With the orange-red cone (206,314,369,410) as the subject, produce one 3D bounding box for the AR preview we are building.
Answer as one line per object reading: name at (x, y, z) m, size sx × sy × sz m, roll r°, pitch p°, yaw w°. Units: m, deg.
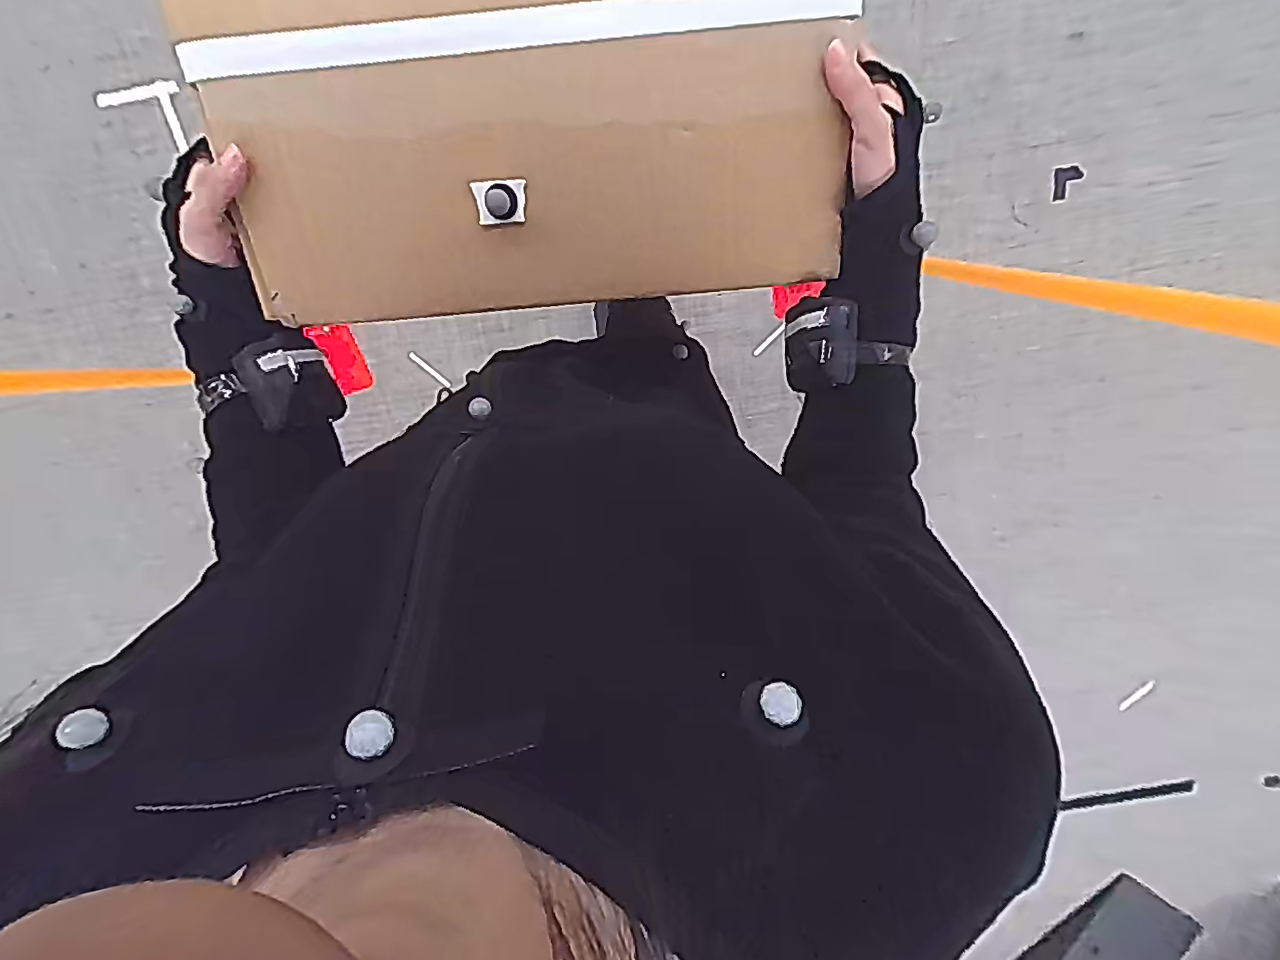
orange-red cone at (-0.770, -0.233, 1.141) m, size 0.199 × 0.360 × 0.198 m, roll -17°, pitch 106°, yaw 4°
